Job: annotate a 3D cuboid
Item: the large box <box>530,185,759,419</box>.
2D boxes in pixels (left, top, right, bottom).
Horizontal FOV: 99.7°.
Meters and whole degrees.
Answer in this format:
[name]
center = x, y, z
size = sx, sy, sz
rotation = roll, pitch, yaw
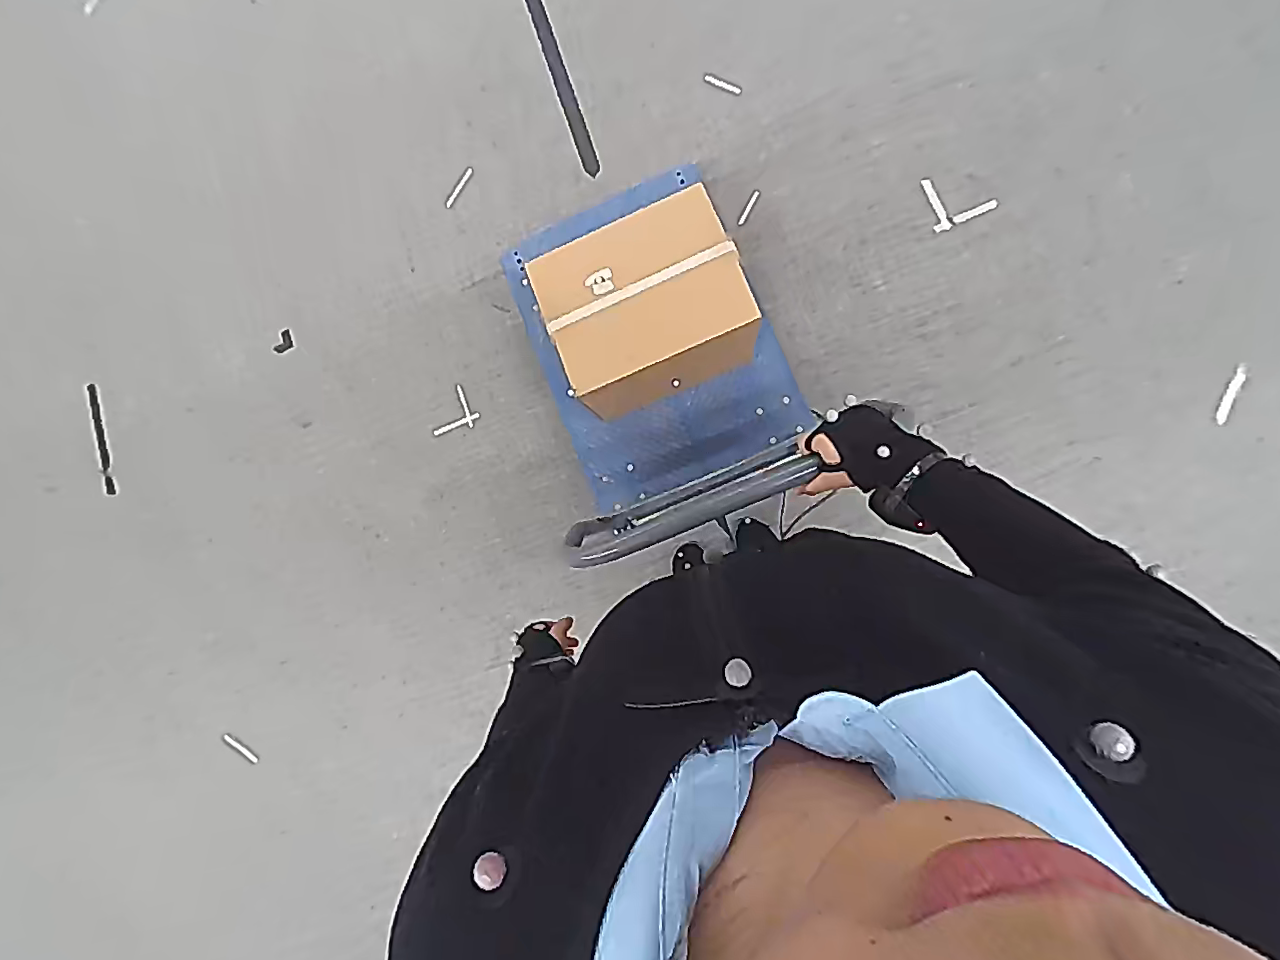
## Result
[large box]
center = 0.025, -0.380, 1.257
size = 0.408, 0.320, 0.320
rotation = -23, 82, 7
